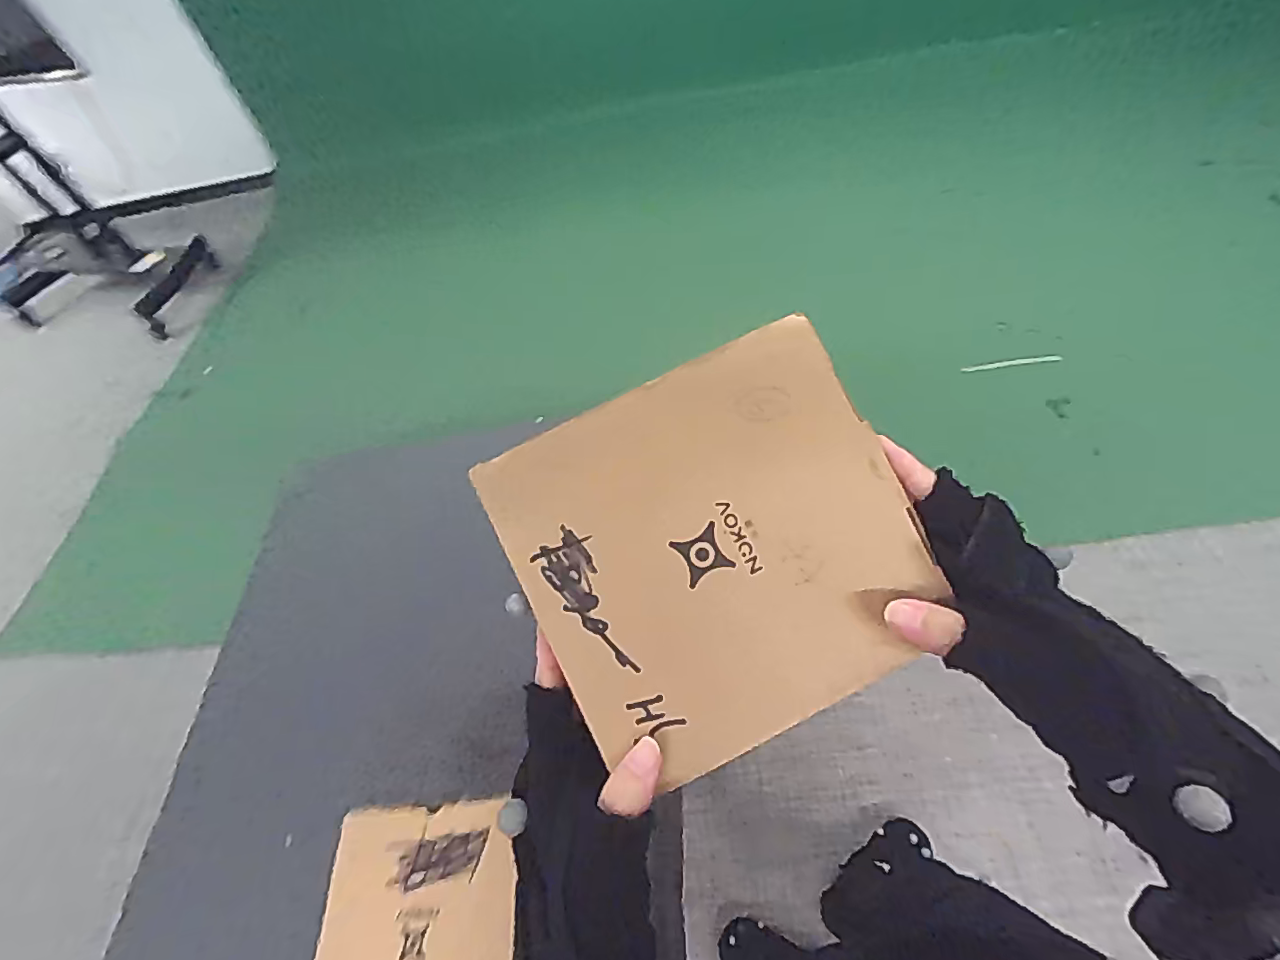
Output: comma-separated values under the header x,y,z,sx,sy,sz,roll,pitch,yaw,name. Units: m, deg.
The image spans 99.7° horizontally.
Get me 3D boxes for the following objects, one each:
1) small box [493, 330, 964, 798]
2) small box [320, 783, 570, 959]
x,y,z,sx,sy,sz,roll,pitch,yaw,name
0.038,0.041,0.329,0.179,0.176,0.168,-24,84,-4,small box
-0.165,0.402,0.503,0.168,0.176,0.179,-10,53,3,small box
